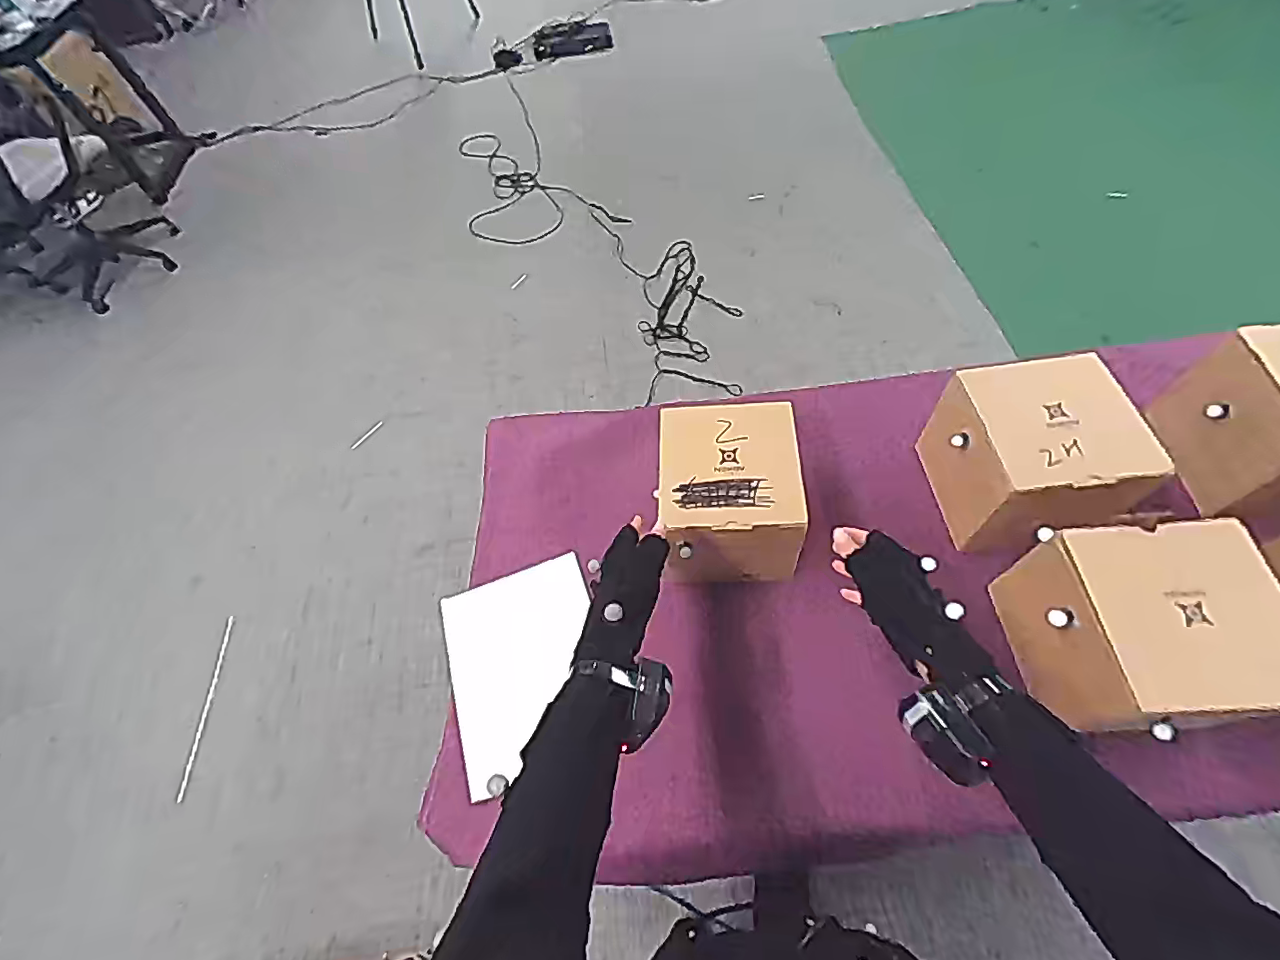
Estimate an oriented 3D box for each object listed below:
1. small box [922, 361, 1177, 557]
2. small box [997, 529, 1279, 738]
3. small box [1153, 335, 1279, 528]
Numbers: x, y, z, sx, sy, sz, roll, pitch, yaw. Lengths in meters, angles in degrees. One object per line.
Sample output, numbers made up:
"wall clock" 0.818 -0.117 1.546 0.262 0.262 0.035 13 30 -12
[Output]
"small box" 0.483 -0.021 0.677 0.168 0.176 0.179 -6 58 5
"small box" 0.515 0.168 0.561 0.168 0.176 0.179 -4 59 6
"small box" 0.793 -0.056 0.655 0.168 0.176 0.179 -2 58 7
